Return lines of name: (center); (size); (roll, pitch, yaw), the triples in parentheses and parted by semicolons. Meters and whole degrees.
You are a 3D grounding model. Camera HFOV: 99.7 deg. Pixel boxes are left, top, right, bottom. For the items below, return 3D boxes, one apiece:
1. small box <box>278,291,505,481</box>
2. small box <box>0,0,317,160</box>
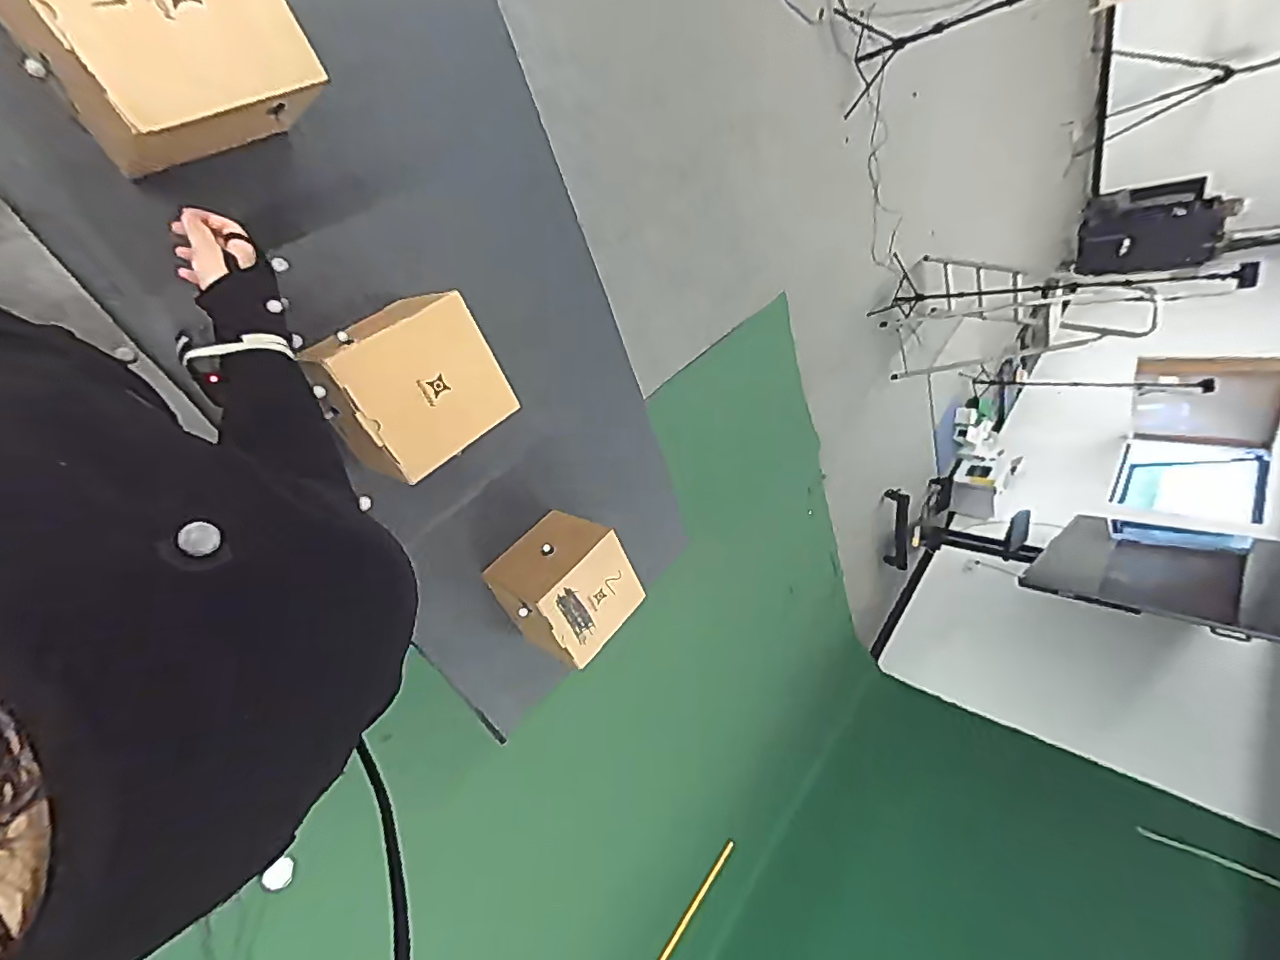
small box: (-0.314, -0.128, 0.690); (0.179, 0.176, 0.168); (-43, 129, -28)
small box: (-0.439, -0.411, 0.478); (0.179, 0.176, 0.168); (-45, 129, -30)
